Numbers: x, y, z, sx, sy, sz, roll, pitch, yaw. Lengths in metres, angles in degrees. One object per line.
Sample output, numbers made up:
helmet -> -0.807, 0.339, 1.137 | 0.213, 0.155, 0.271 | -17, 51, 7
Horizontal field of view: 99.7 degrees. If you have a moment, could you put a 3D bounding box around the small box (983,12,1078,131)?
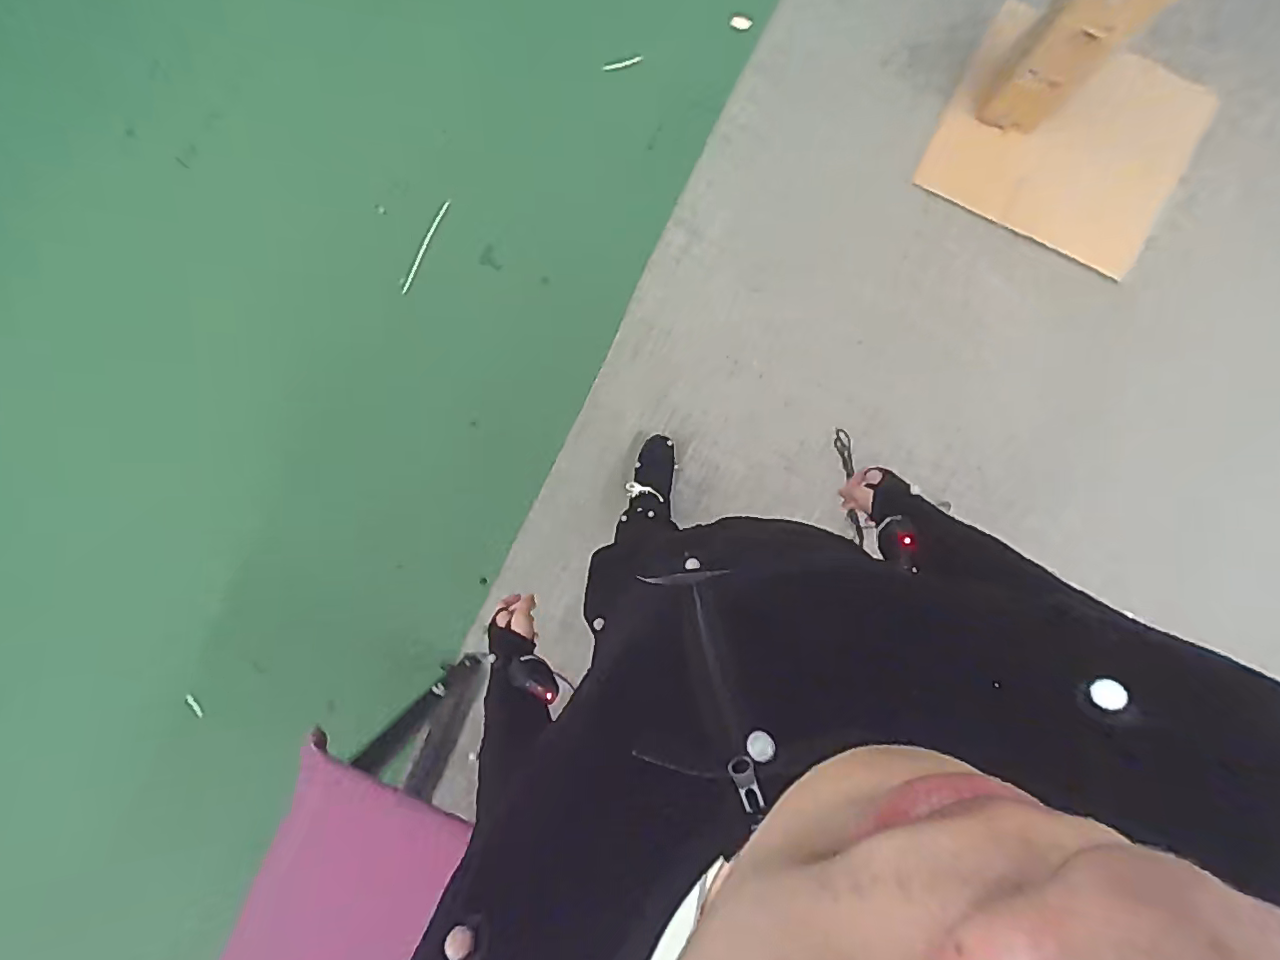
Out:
small box -> 1.093, -1.119, 1.493 | 0.168, 0.176, 0.179 | 19, 91, 3

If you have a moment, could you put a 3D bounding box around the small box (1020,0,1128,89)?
small box -> 1.085, -1.120, 1.330 | 0.168, 0.176, 0.179 | 23, 90, 3

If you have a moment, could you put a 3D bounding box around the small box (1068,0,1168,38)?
small box -> 1.082, -1.120, 1.168 | 0.168, 0.176, 0.179 | 23, 90, 3
